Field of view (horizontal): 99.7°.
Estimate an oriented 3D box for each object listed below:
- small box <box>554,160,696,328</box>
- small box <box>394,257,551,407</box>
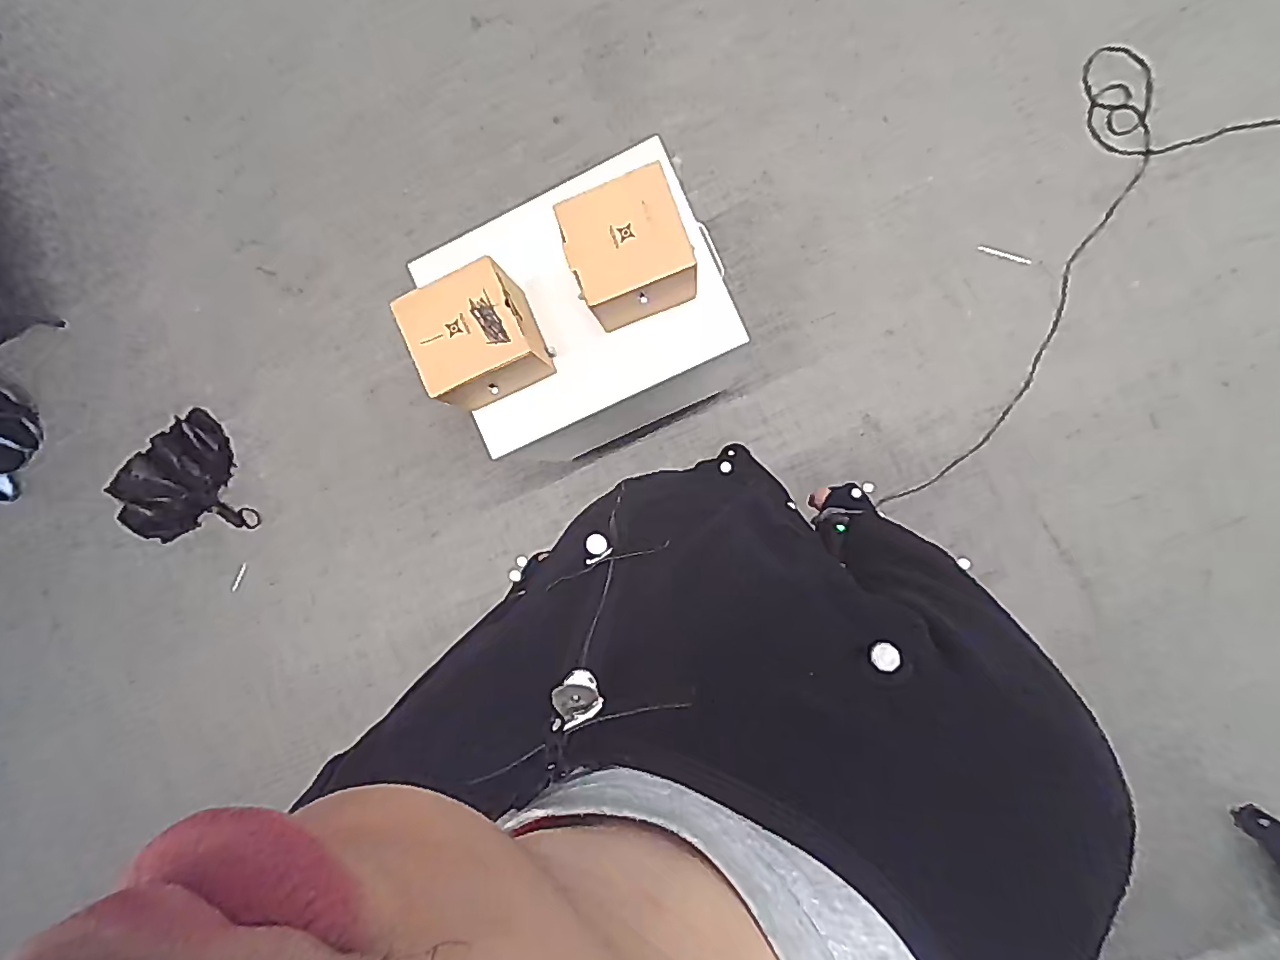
[{"bbox_3d":[-0.014,-0.366,0.876,0.179,0.176,0.168,-20,91,6],"label":"small box"},{"bbox_3d":[-0.263,-0.235,0.904,0.179,0.176,0.168,-24,88,7],"label":"small box"}]
